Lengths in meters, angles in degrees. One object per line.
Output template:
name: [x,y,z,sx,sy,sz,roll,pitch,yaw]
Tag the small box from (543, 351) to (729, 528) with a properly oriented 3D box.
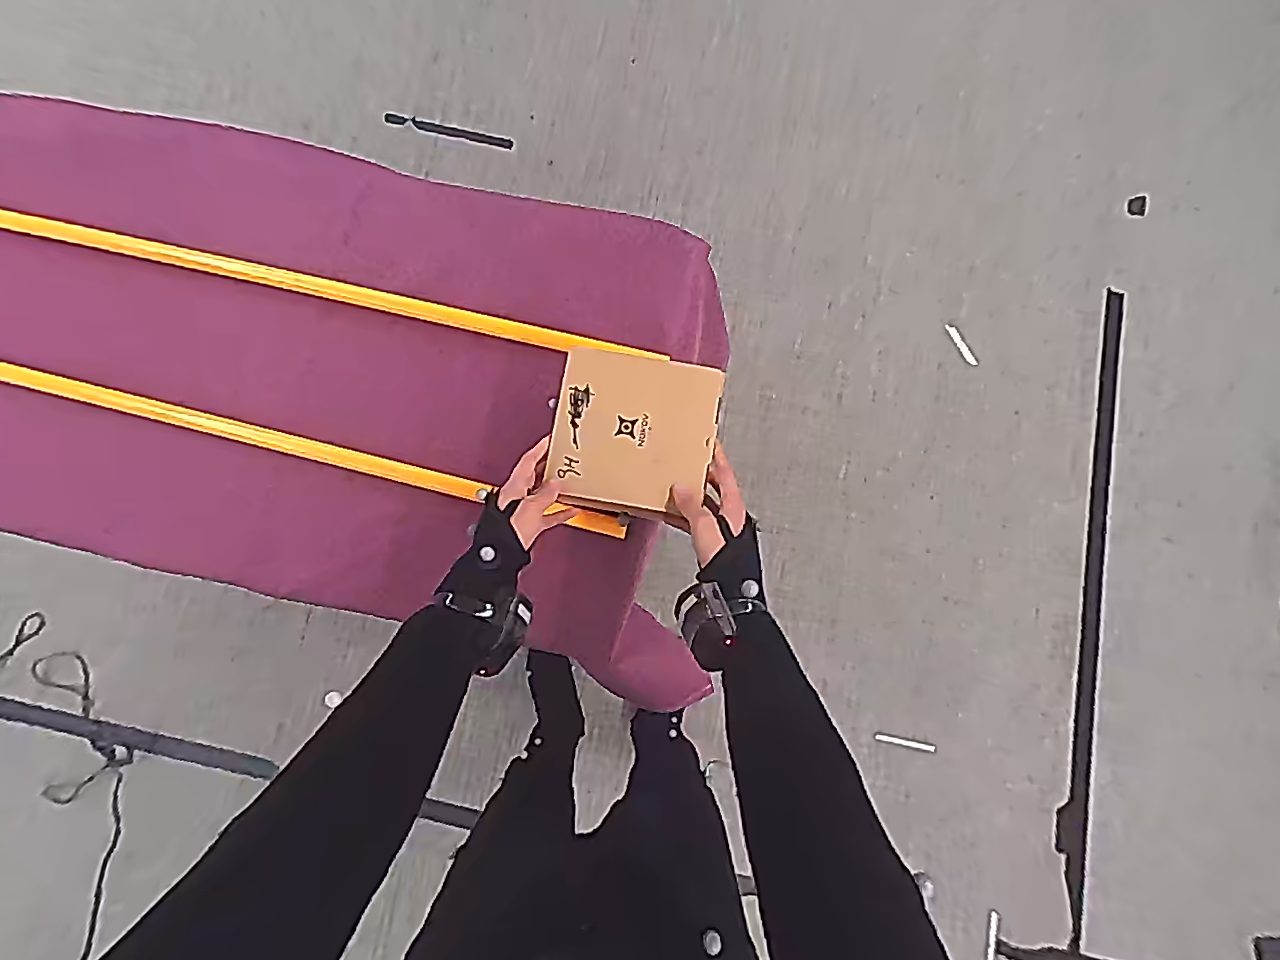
small box: [-0.003,-0.037,0.657,0.179,0.176,0.168,11,83,1]
